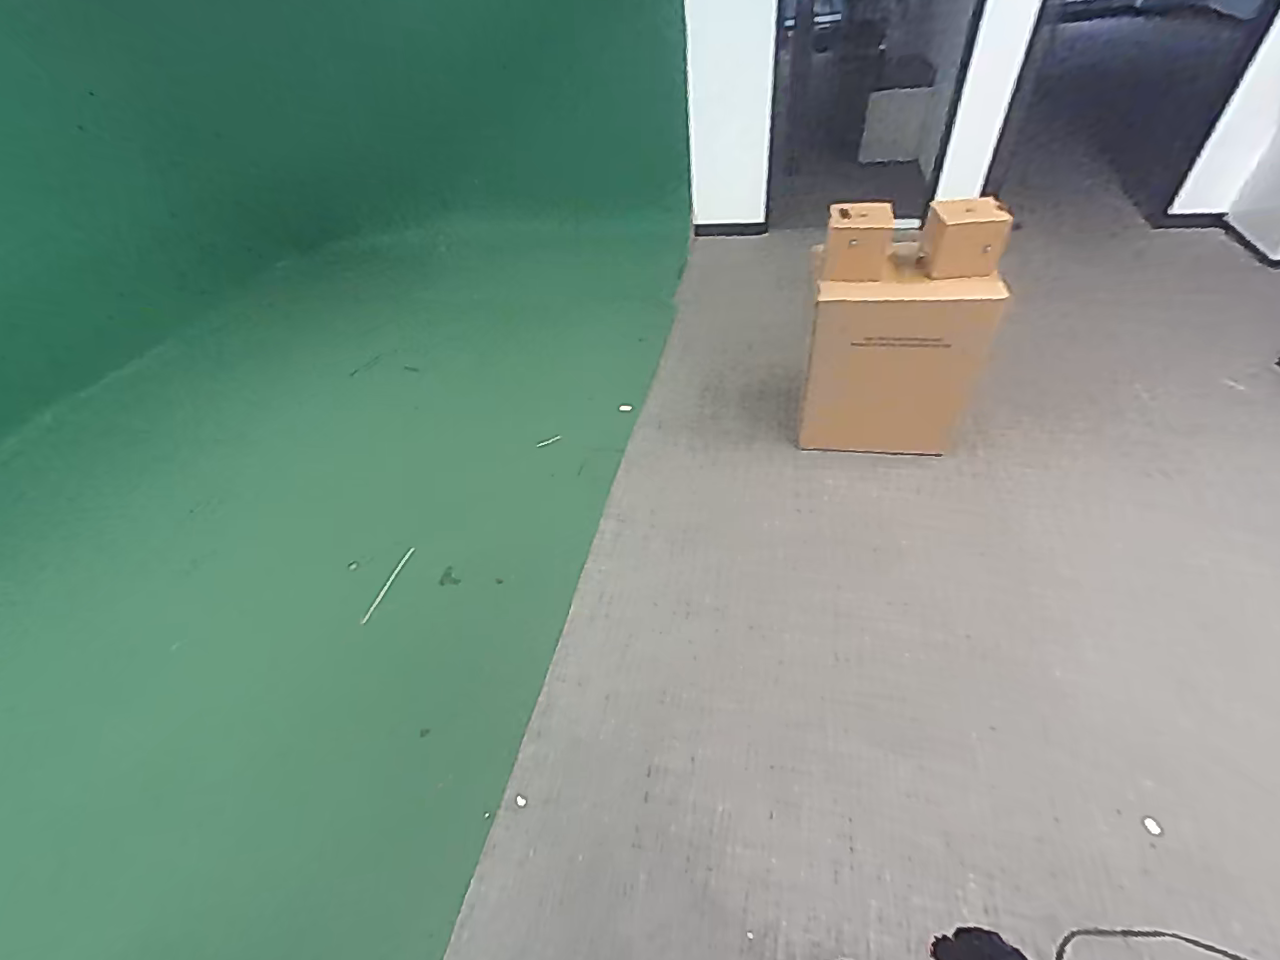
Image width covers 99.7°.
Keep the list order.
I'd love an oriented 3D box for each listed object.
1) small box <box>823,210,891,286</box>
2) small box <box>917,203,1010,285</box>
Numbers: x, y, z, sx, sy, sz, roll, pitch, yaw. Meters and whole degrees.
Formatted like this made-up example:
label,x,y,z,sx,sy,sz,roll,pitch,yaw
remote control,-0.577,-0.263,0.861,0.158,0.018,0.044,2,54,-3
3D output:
label,x,y,z,sx,sy,sz,roll,pitch,yaw
small box,0.675,-0.726,1.696,0.179,0.176,0.168,6,50,14
small box,0.969,-0.713,1.638,0.179,0.176,0.168,-3,47,8
